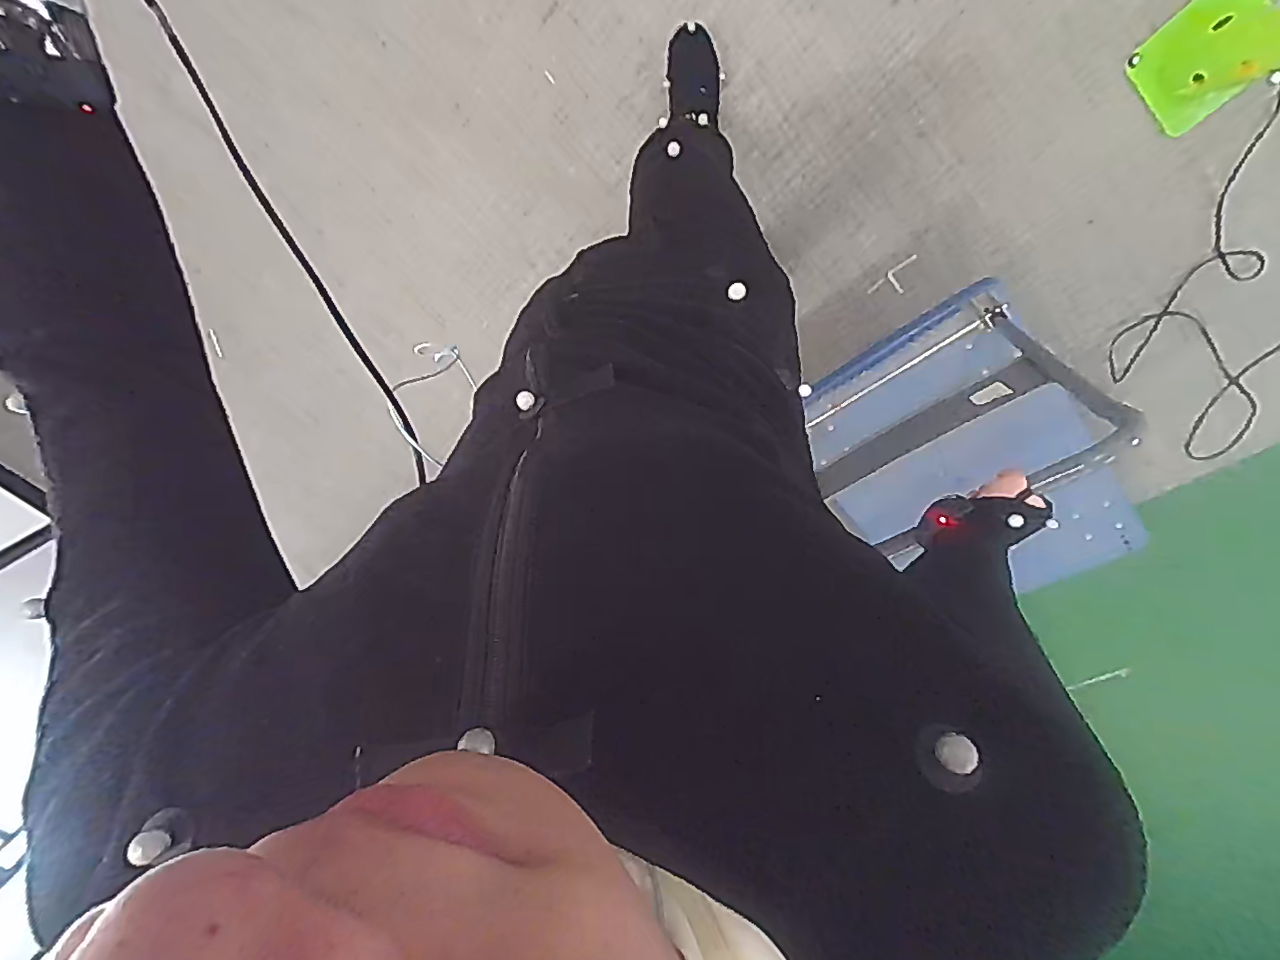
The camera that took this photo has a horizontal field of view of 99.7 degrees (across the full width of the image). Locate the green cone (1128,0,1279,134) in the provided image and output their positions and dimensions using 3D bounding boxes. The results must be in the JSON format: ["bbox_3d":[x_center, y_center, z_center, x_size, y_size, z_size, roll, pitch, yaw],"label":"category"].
[{"bbox_3d":[1.037,-0.712,0.873,0.200,0.368,0.202,39,121,-14],"label":"green cone"}]
